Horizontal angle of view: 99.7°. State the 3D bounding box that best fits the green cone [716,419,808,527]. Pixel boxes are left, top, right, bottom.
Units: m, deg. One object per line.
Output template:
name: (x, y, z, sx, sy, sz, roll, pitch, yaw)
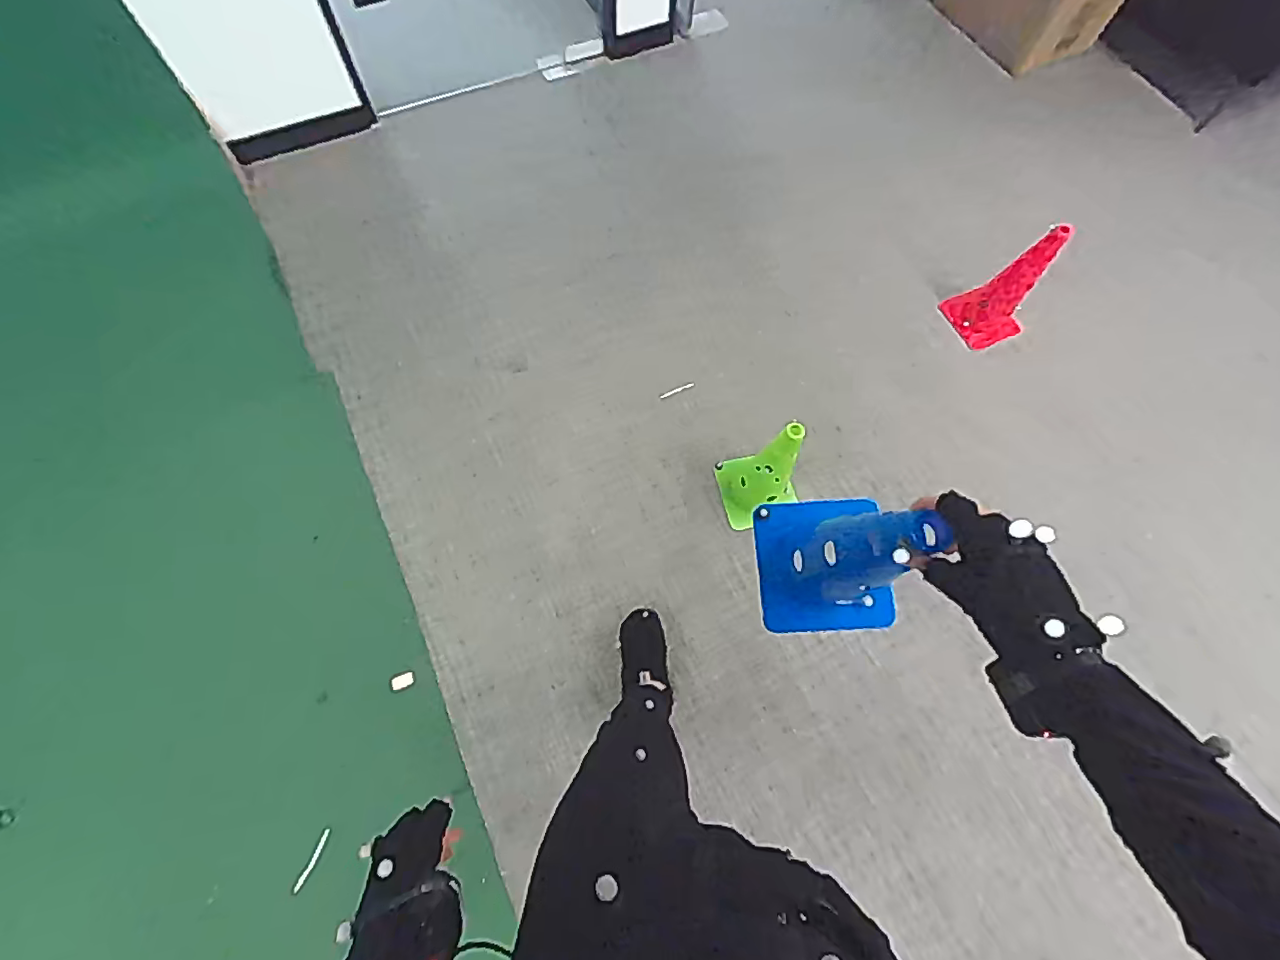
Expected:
green cone: (0.331, -0.041, 1.326, 0.202, 0.368, 0.200, -12, 69, -7)
